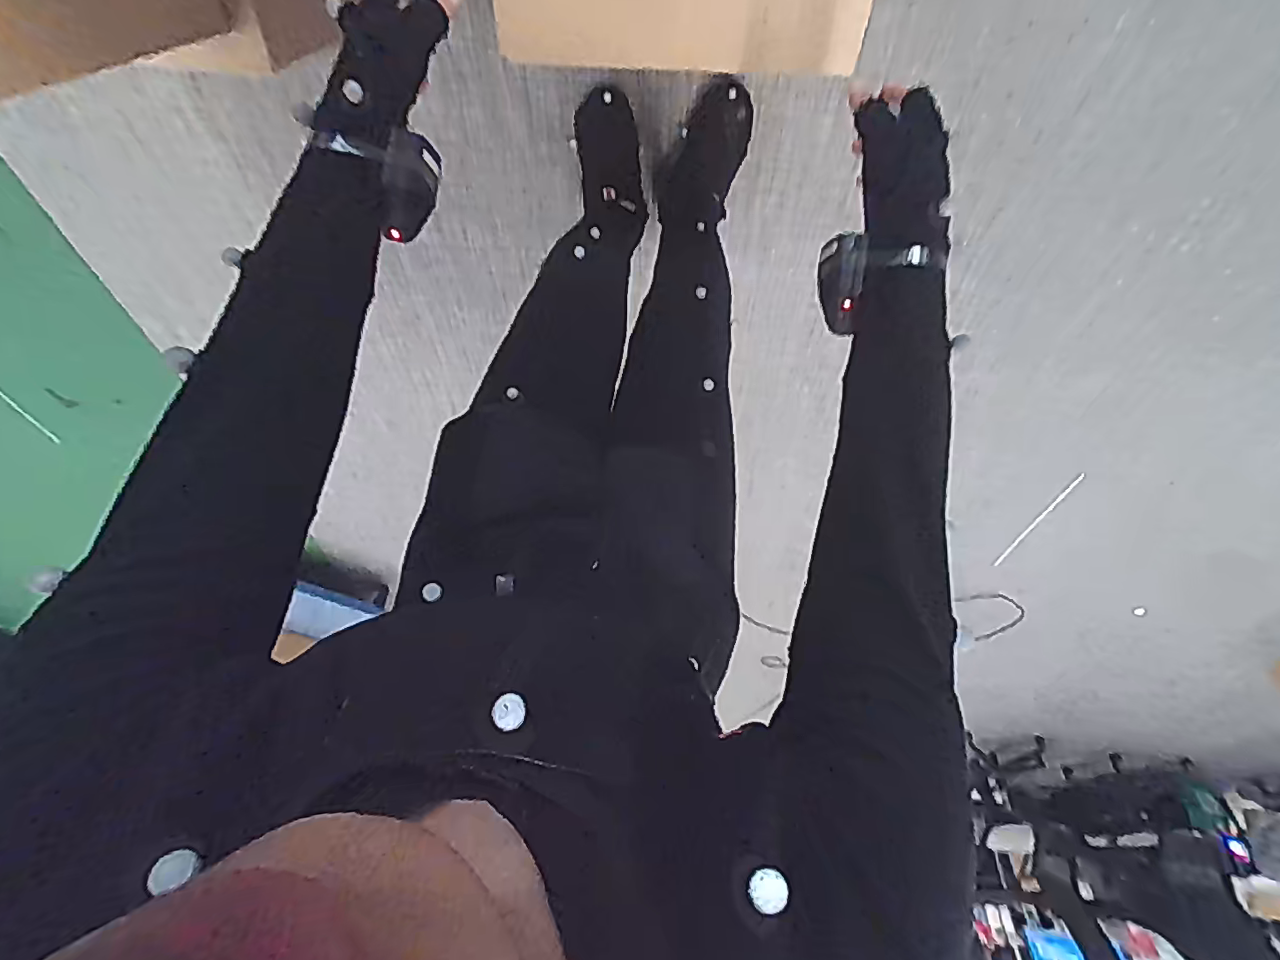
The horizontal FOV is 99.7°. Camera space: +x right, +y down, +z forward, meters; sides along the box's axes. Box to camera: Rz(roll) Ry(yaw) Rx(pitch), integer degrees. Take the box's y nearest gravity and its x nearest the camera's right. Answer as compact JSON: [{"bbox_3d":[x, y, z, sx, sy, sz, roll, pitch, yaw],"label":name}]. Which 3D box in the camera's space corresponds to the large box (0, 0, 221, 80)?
[{"bbox_3d":[-0.672,-0.524,0.410,0.408,0.320,0.320,5,137,1],"label":"large box"}]
